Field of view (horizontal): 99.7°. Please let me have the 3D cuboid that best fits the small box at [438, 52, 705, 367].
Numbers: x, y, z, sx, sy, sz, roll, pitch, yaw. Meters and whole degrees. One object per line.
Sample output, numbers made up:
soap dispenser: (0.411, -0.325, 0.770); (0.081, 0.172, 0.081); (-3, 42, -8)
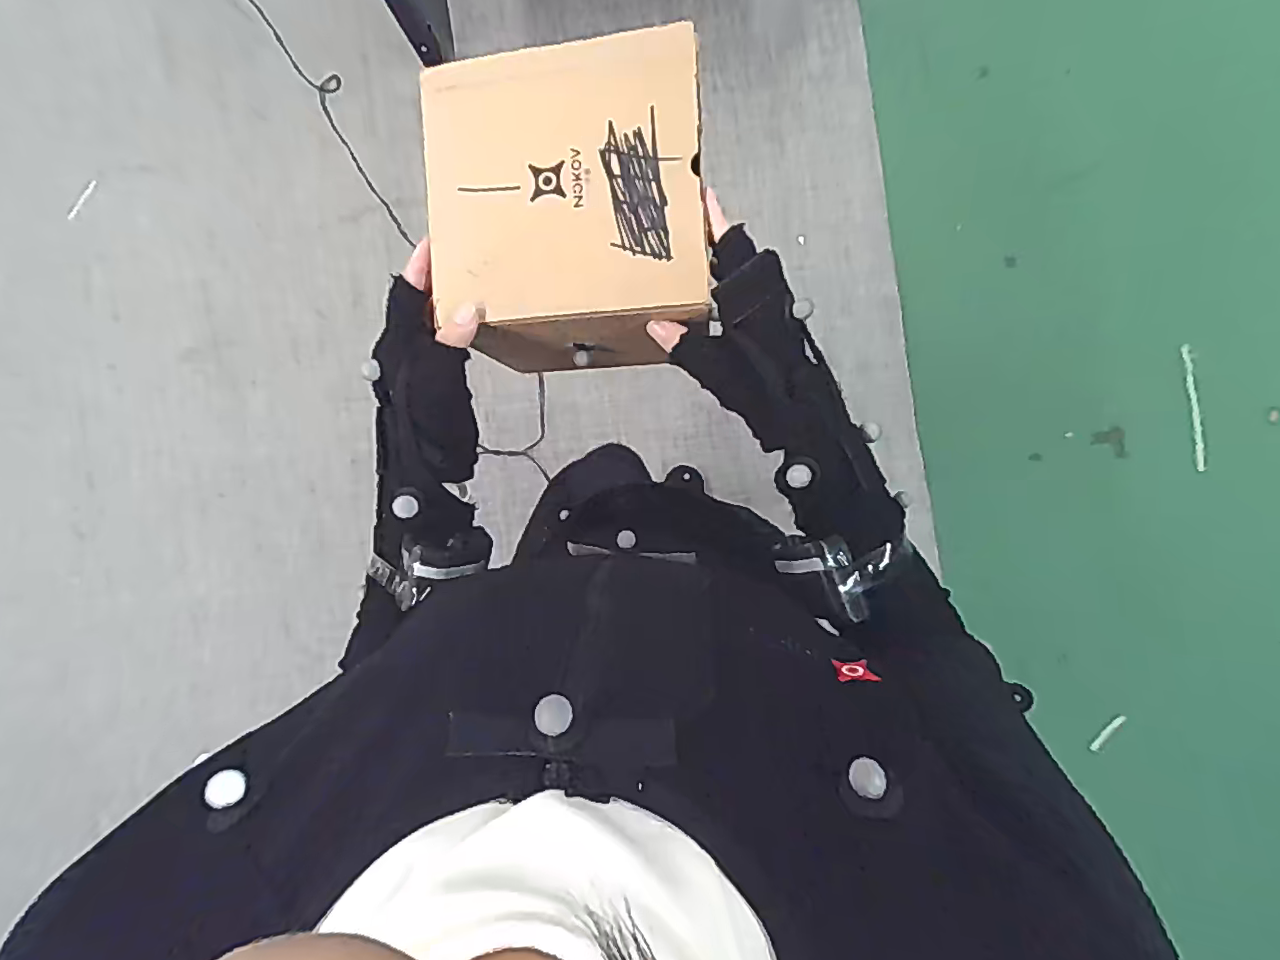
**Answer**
small box: (-0.039, -0.191, 0.434); (0.179, 0.176, 0.168); (-2, 90, 7)
